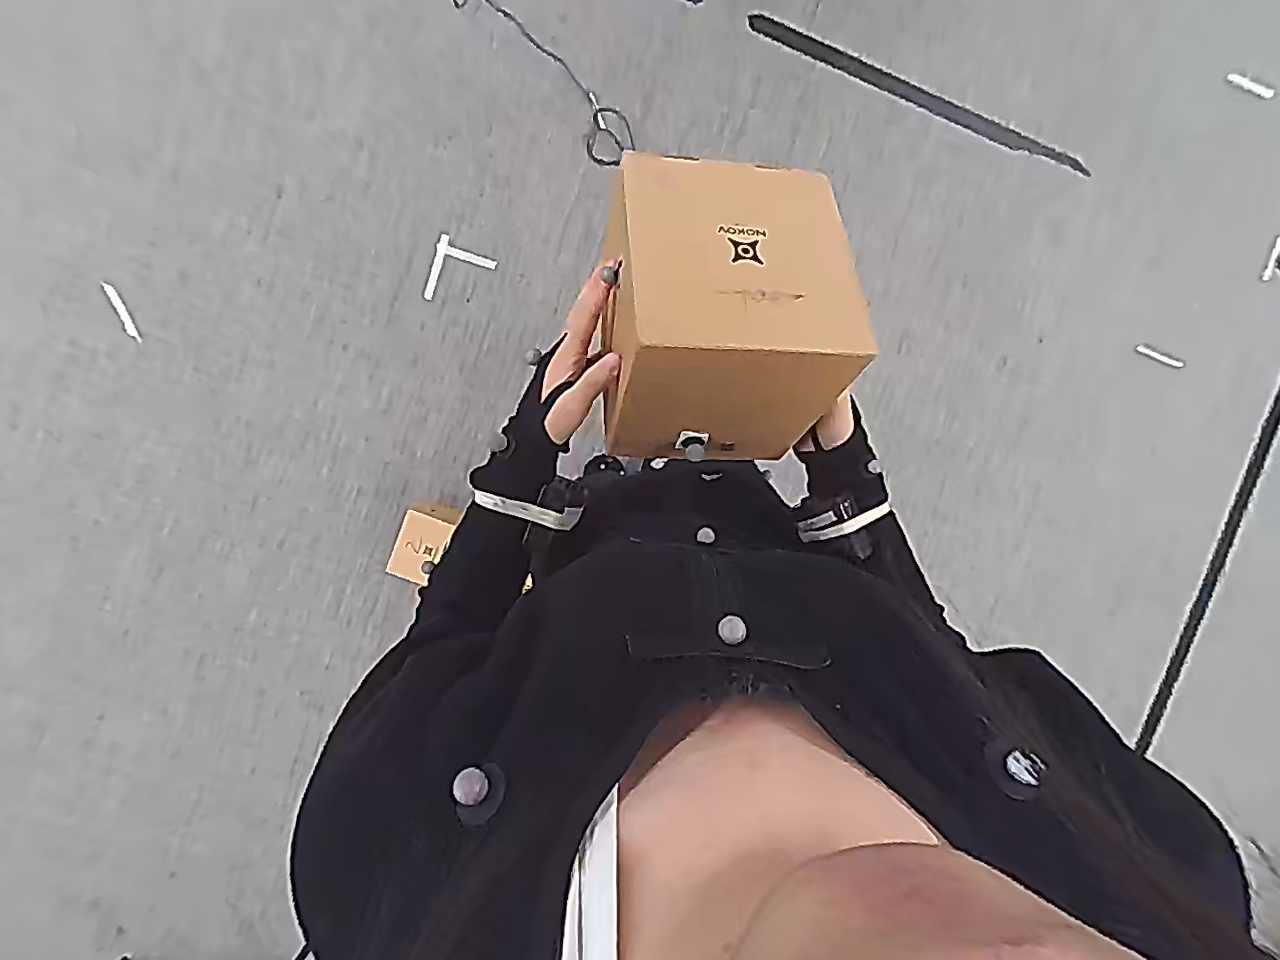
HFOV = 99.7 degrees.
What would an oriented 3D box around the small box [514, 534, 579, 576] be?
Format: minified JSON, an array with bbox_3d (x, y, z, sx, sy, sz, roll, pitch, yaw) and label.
[{"bbox_3d":[-0.262,0.259,1.410,0.168,0.176,0.179,22,91,-6],"label":"small box"}]

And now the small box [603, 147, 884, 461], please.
[{"bbox_3d":[0.062,-0.131,0.447,0.168,0.176,0.179,0,67,-11],"label":"small box"}]
